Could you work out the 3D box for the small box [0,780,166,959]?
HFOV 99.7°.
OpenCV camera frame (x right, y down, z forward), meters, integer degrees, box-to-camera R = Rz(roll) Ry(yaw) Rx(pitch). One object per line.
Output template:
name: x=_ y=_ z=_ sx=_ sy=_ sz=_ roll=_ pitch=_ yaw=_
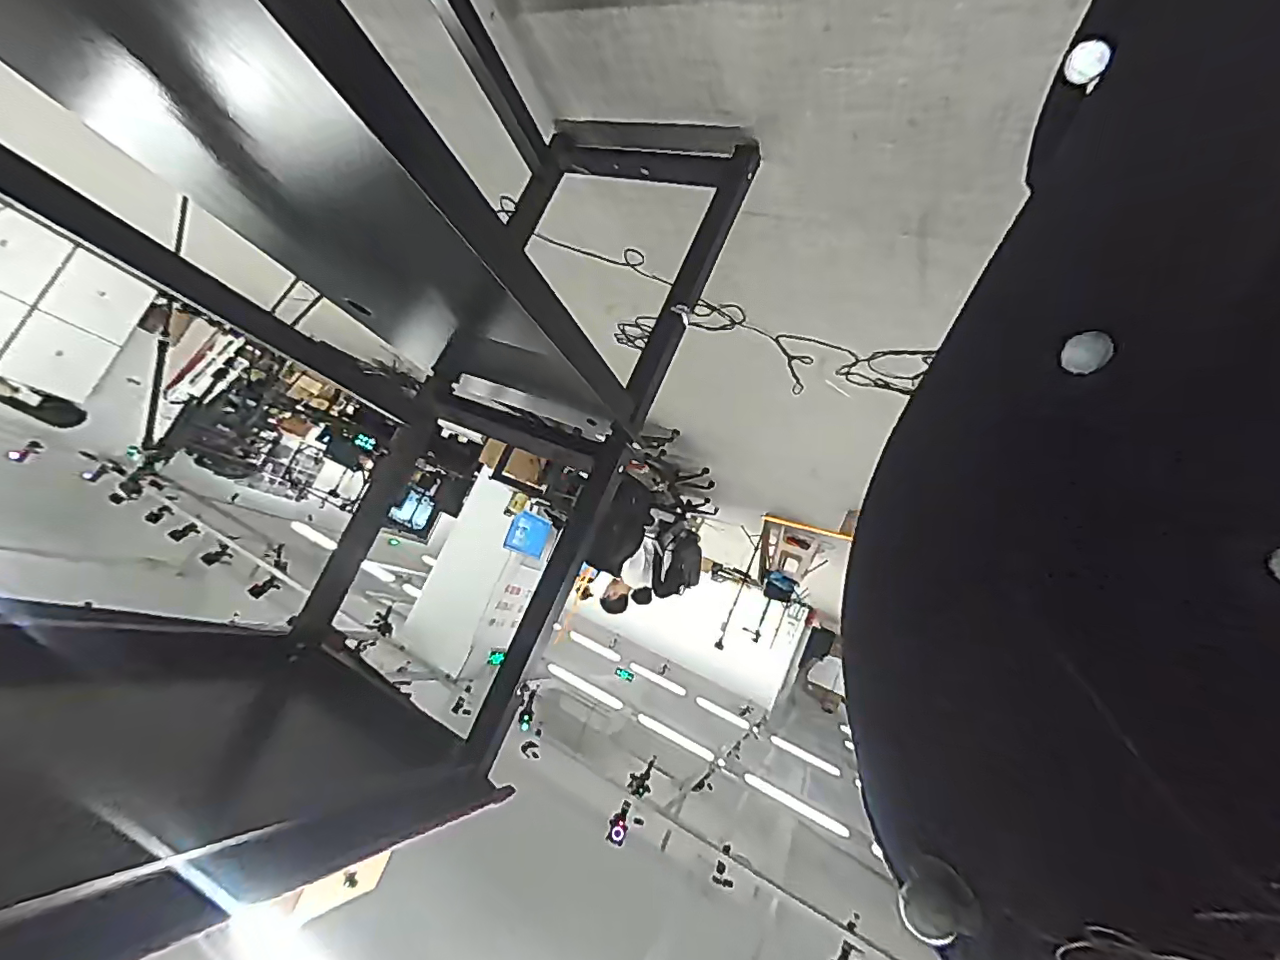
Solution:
small box: x=-0.651 y=0.439 z=0.551 sx=0.168 sy=0.176 sz=0.179 roll=22 pitch=170 yaw=24
